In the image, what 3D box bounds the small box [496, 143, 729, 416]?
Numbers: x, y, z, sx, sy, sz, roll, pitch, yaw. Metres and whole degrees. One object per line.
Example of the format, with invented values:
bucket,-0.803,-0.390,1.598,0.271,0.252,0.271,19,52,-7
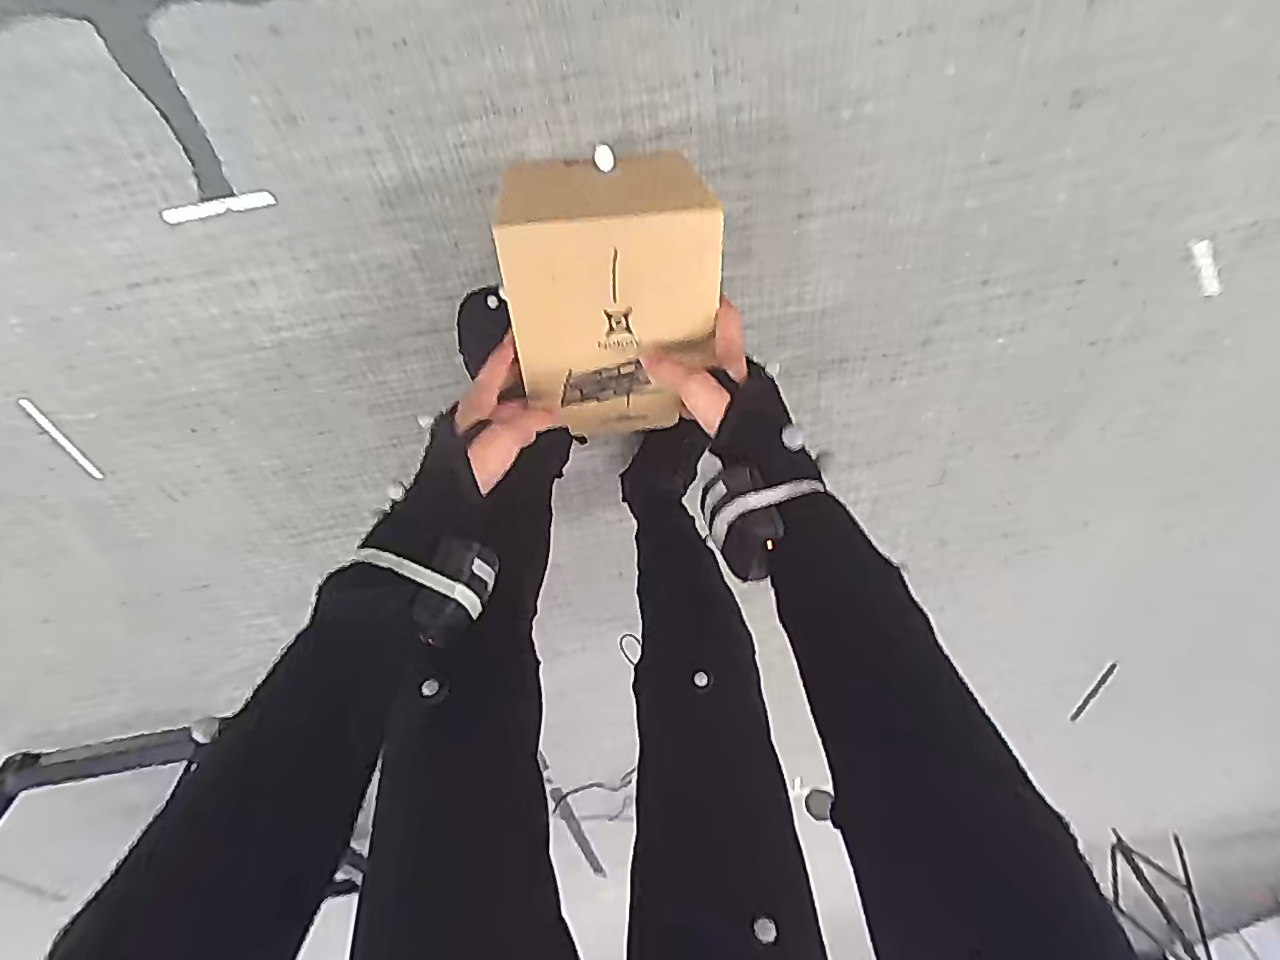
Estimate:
small box,-0.028,-0.181,0.487,0.168,0.176,0.179,-6,135,-5
